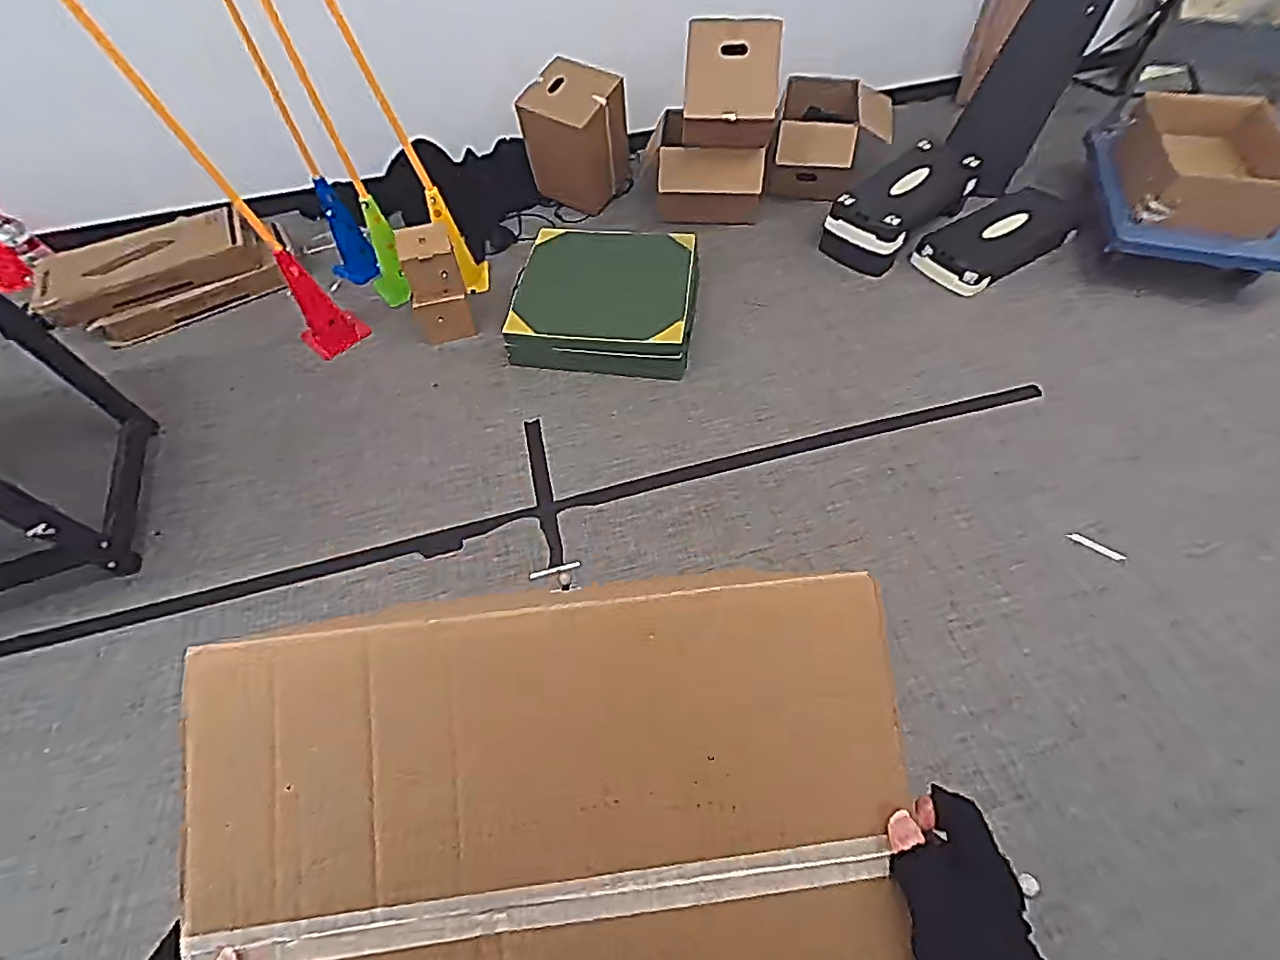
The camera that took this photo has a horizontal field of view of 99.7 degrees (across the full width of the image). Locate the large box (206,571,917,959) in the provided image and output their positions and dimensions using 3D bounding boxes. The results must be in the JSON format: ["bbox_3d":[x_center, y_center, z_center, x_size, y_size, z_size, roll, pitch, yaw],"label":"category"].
[{"bbox_3d":[-0.047,0.260,0.459,0.408,0.320,0.320,-6,82,-4],"label":"large box"}]
